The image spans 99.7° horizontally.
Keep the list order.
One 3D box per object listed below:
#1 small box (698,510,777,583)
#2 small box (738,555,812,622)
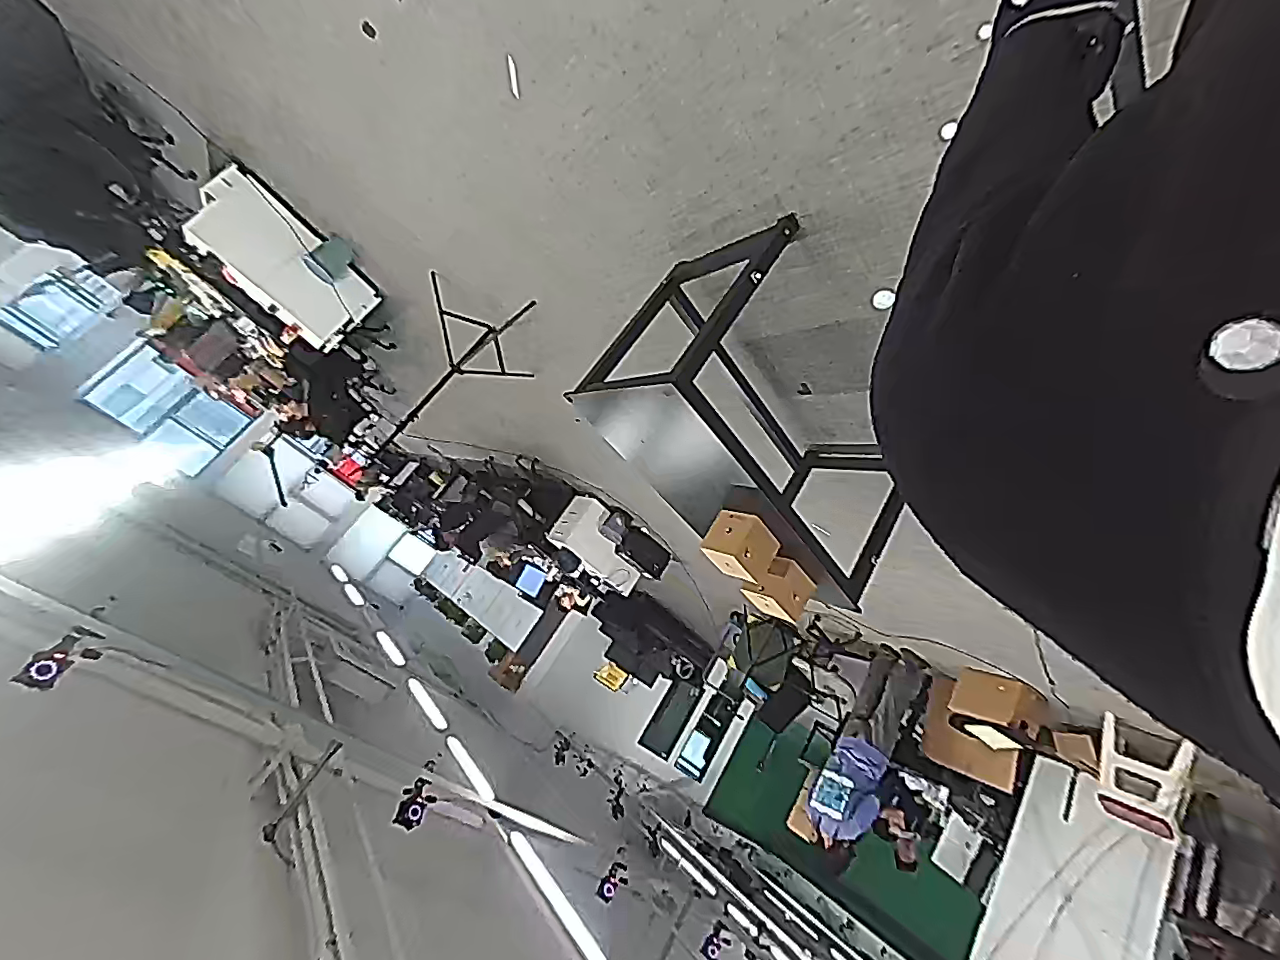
[{"bbox_3d":[0.342,0.225,1.876,0.168,0.176,0.179,9,149,53],"label":"small box"},{"bbox_3d":[0.507,0.394,2.012,0.179,0.176,0.168,45,159,-28],"label":"small box"}]
